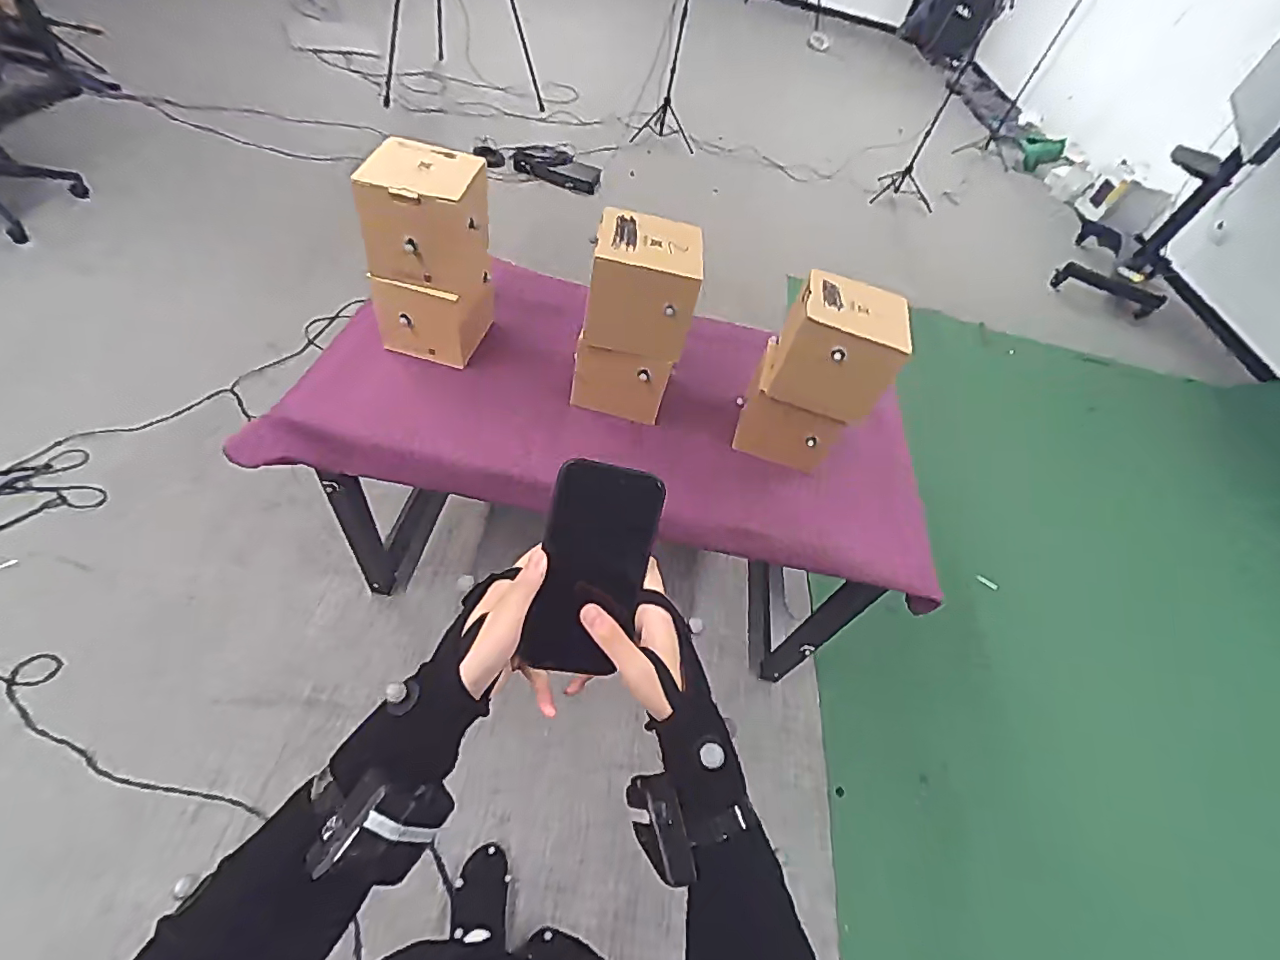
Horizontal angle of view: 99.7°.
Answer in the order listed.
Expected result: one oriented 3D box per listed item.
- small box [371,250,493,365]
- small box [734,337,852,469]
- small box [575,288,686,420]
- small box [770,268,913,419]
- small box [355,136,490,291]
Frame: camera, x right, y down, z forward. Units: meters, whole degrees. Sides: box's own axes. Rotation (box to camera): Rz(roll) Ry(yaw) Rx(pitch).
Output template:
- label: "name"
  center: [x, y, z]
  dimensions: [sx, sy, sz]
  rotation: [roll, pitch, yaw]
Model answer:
- label: "small box"
  center: [-0.396, -0.356, 1.070]
  dimensions: [0.168, 0.176, 0.179]
  rotation: [15, 51, -2]
- label: "small box"
  center: [0.305, -0.147, 1.075]
  dimensions: [0.179, 0.176, 0.168]
  rotation: [19, 51, 2]
- label: "small box"
  center: [-0.021, -0.243, 1.071]
  dimensions: [0.179, 0.176, 0.168]
  rotation: [14, 51, -2]
- label: "small box"
  center: [0.341, -0.232, 0.939]
  dimensions: [0.179, 0.176, 0.168]
  rotation: [19, 51, 1]
- label: "small box"
  center: [-0.364, -0.461, 0.948]
  dimensions: [0.168, 0.176, 0.179]
  rotation: [11, 52, -6]
